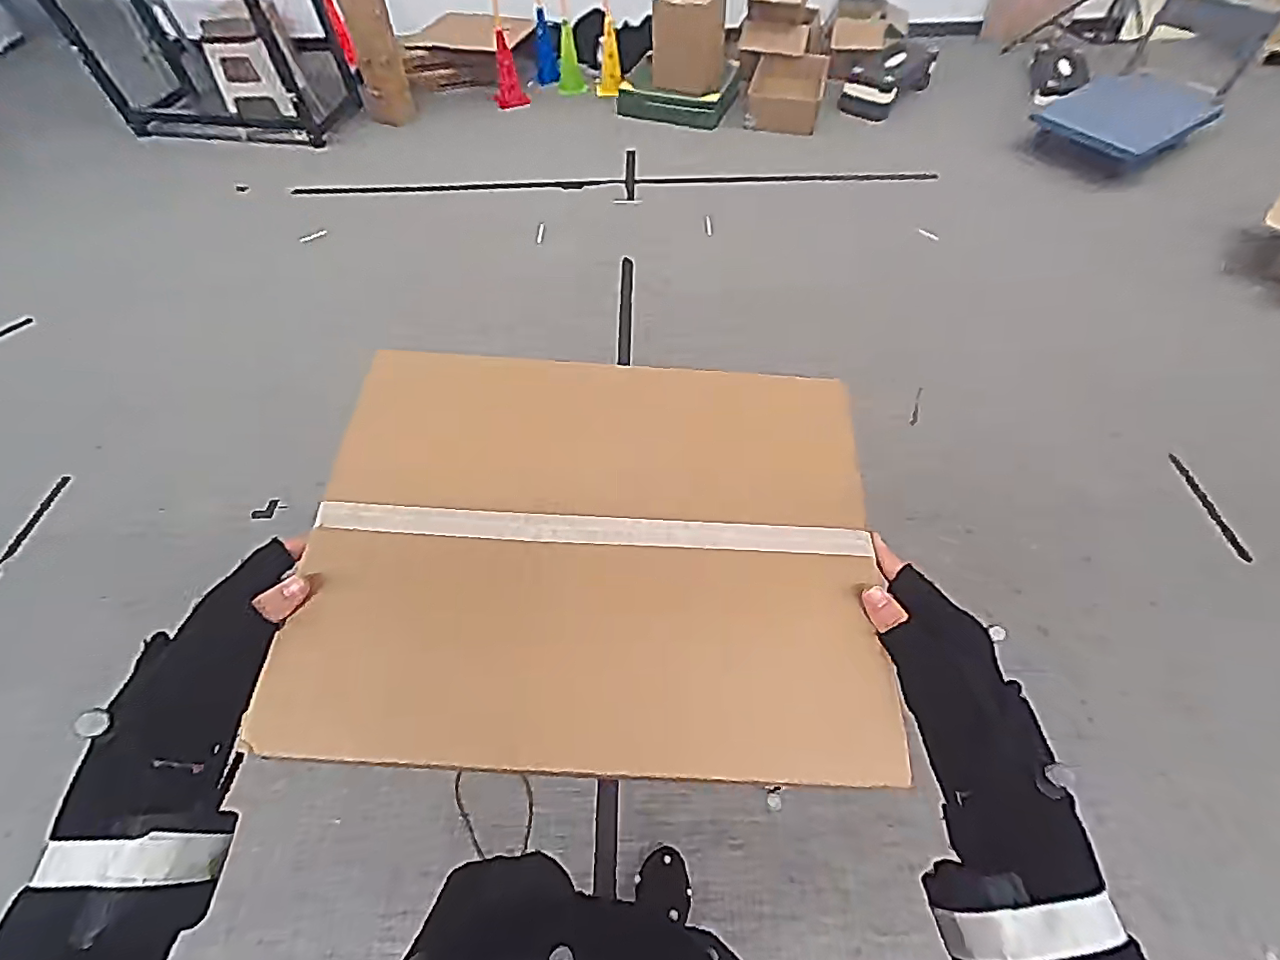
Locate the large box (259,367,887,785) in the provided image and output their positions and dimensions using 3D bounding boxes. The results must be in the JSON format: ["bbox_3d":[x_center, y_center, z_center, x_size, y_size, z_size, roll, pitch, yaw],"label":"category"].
[{"bbox_3d":[-0.040,0.115,0.538,0.408,0.320,0.320,4,61,-2],"label":"large box"}]
